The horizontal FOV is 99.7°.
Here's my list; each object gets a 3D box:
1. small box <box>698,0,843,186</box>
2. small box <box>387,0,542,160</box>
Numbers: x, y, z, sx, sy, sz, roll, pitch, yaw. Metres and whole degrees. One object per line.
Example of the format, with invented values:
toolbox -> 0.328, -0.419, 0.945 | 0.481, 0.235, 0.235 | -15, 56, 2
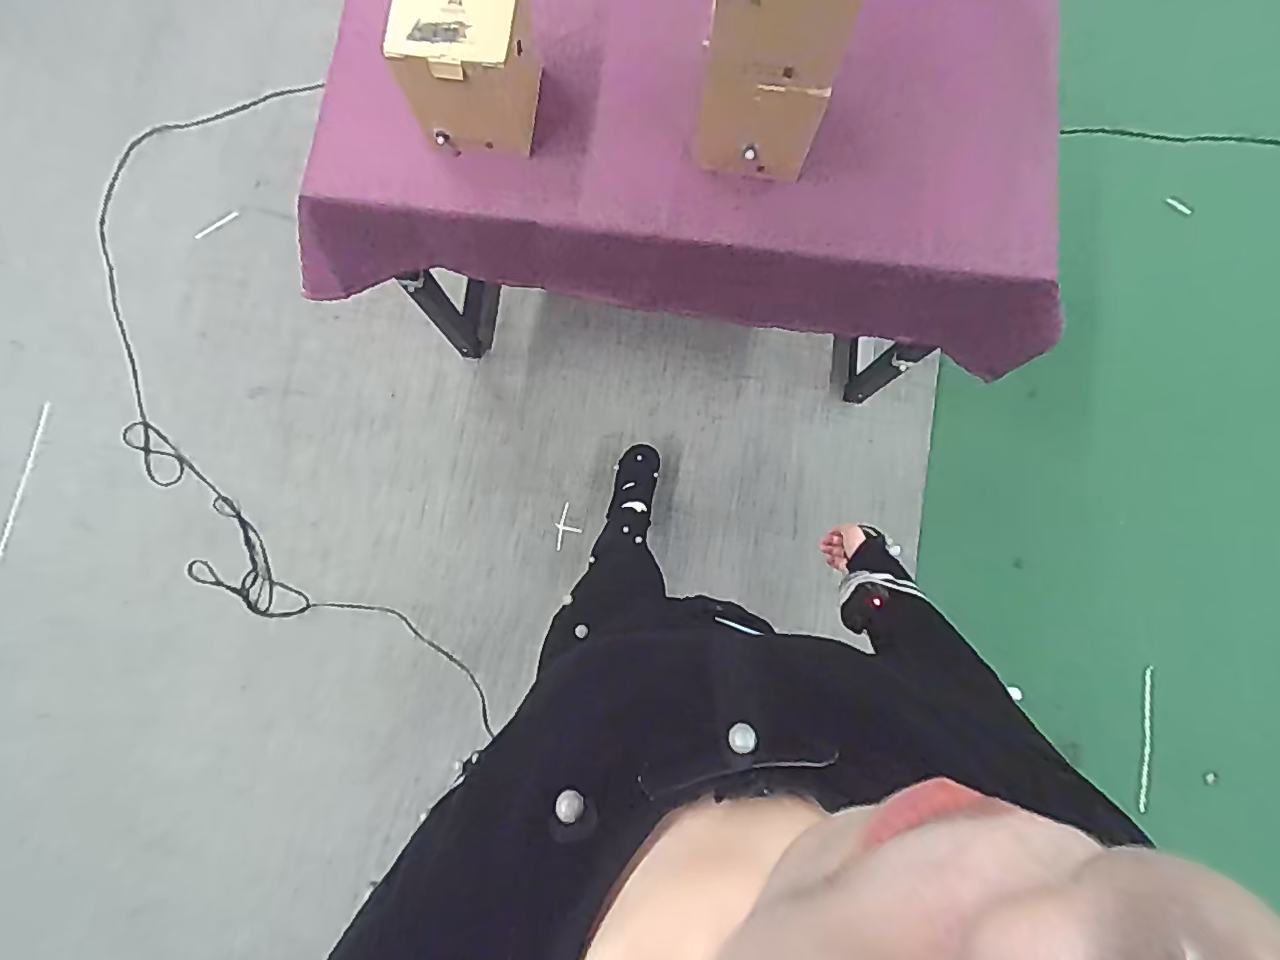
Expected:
small box -> 0.183, -0.580, 0.804 | 0.168, 0.176, 0.179 | 9, 81, 2
small box -> -0.249, -0.617, 0.810 | 0.168, 0.176, 0.179 | 6, 80, 0
